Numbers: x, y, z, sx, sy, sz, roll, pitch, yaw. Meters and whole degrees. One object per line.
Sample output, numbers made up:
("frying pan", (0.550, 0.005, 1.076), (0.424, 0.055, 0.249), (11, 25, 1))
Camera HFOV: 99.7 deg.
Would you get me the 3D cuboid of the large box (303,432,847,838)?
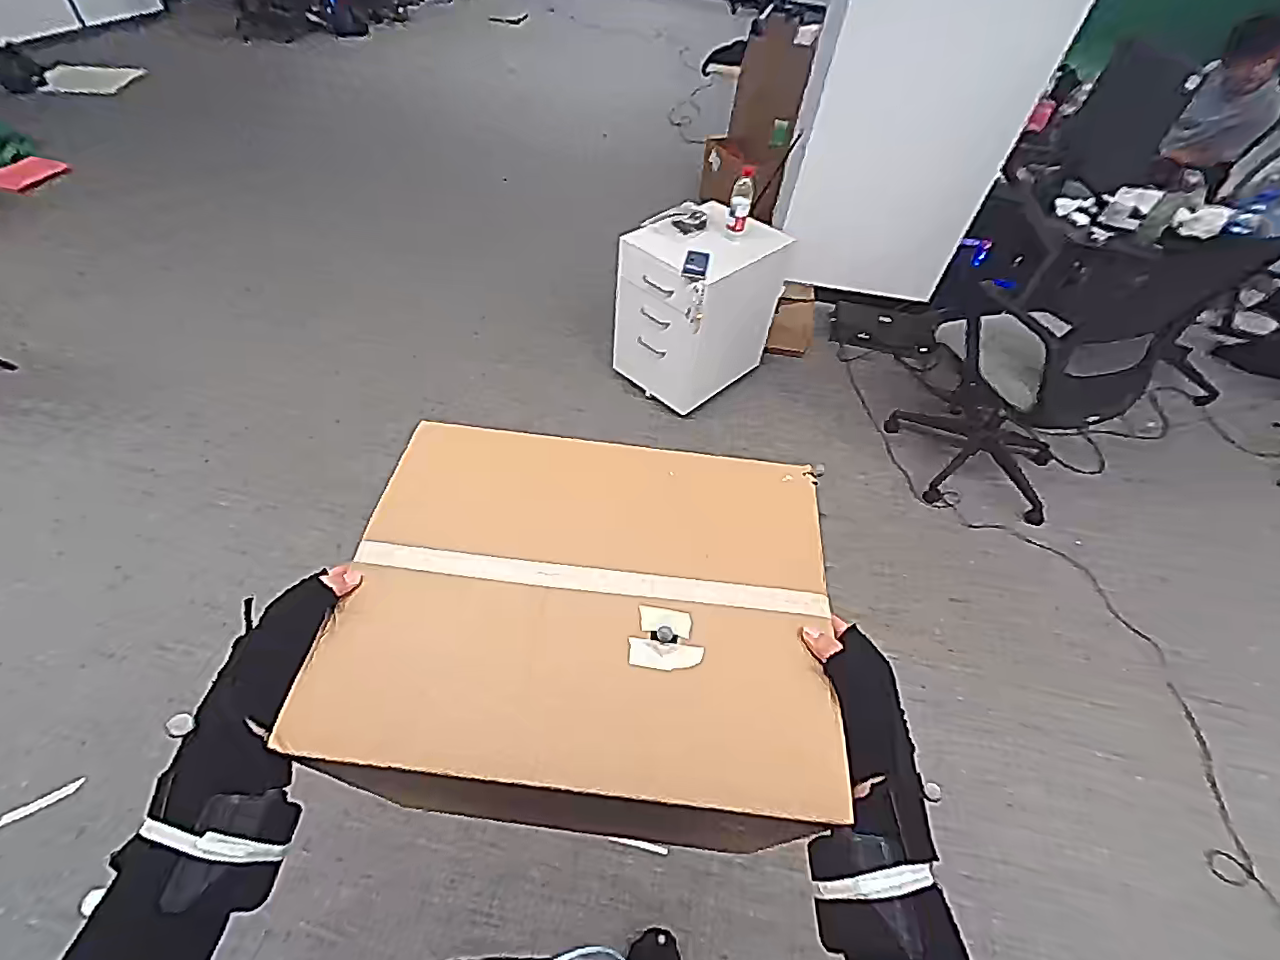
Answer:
("large box", (-0.045, 0.179, 0.594), (0.408, 0.320, 0.320), (7, 54, 1))
